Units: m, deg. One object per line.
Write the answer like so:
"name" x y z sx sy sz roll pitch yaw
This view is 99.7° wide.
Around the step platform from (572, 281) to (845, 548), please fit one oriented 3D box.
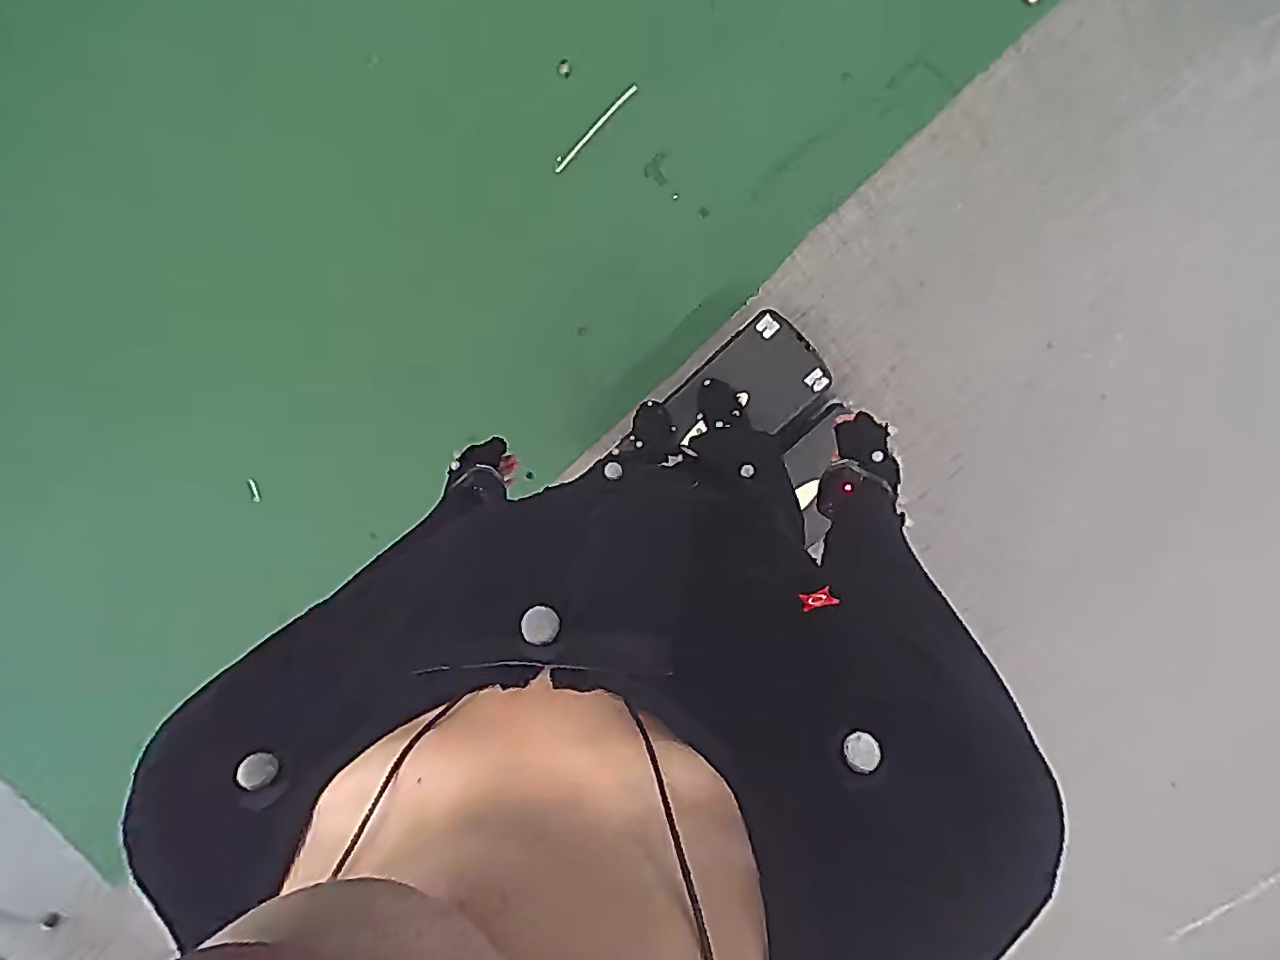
"step platform" 0.155 -0.155 1.353 0.684 0.204 0.286 -43 95 12
